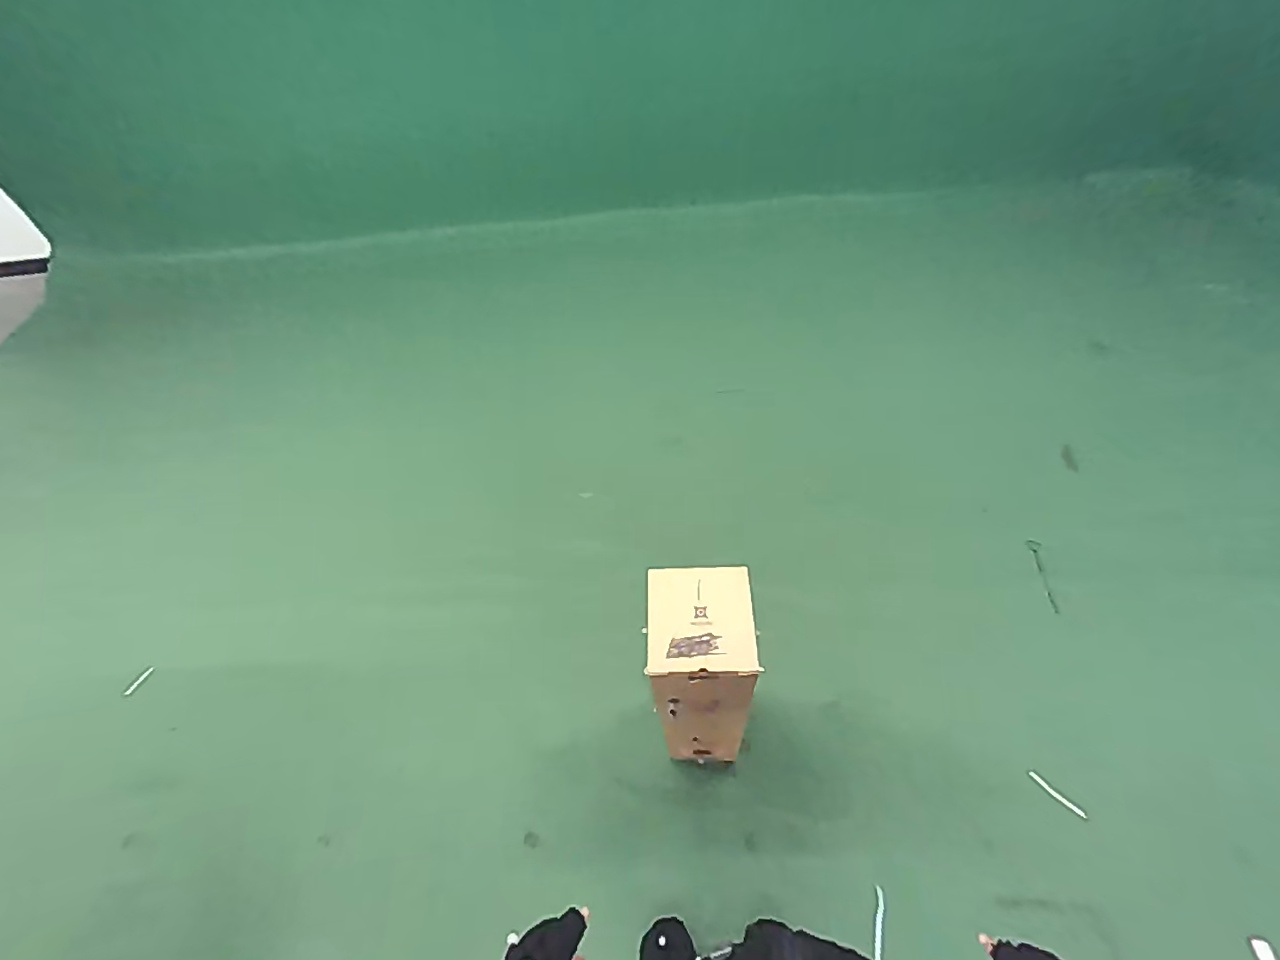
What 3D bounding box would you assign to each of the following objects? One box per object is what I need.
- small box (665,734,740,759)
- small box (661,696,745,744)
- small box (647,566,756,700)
[{"bbox_3d":[0.147,0.557,1.301,0.168,0.176,0.179,-2,53,5],"label":"small box"},{"bbox_3d":[0.130,0.459,1.172,0.168,0.176,0.179,-3,53,4],"label":"small box"},{"bbox_3d":[0.100,0.262,0.910,0.168,0.176,0.179,-2,52,4],"label":"small box"}]
